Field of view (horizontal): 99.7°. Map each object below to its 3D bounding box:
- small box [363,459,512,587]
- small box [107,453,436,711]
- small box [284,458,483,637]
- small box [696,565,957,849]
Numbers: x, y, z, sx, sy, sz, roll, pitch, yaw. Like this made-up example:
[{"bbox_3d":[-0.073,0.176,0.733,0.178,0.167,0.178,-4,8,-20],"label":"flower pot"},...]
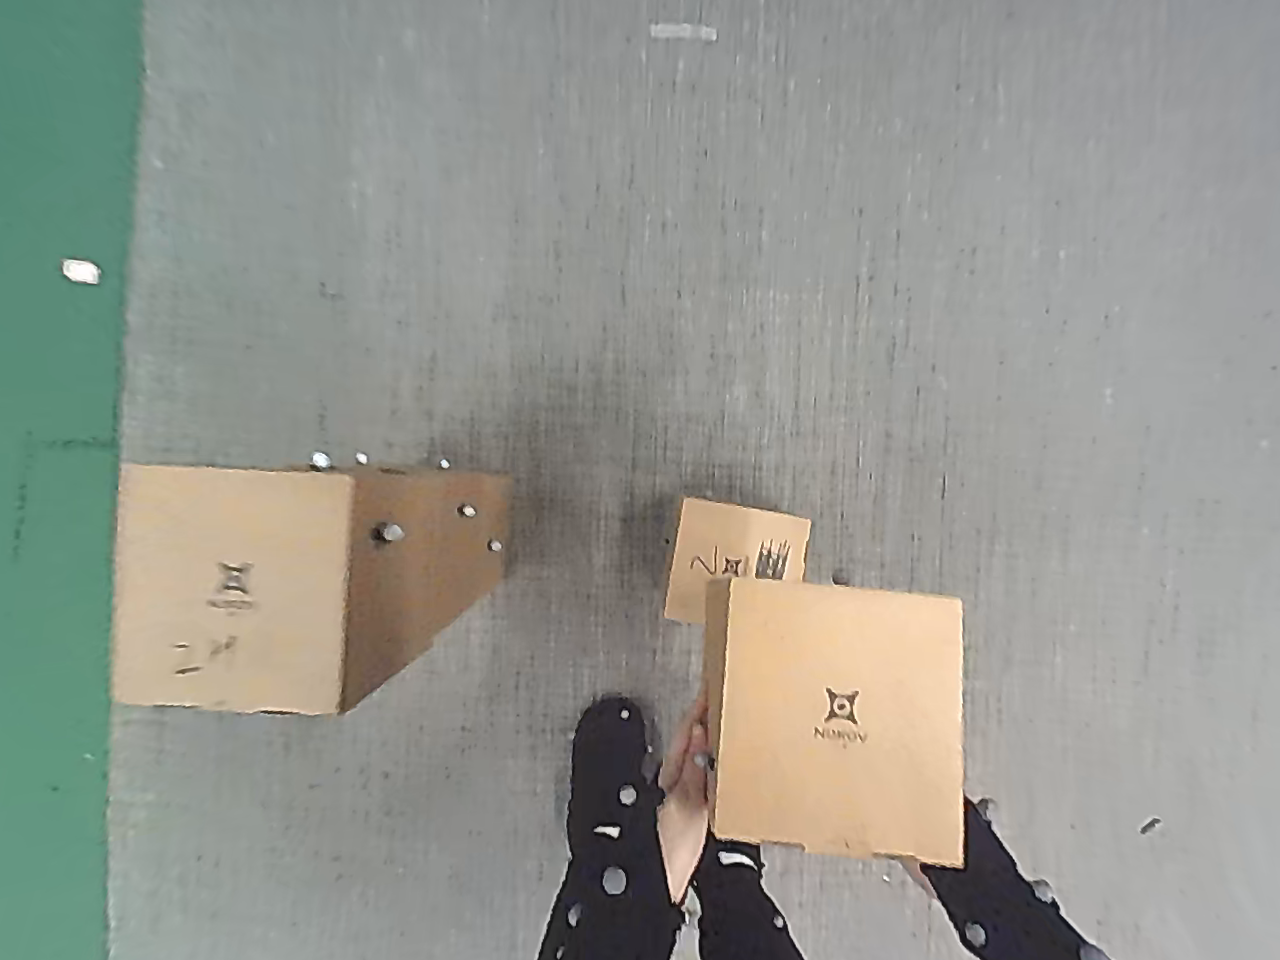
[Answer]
[{"bbox_3d":[-0.291,0.064,0.788,0.168,0.176,0.179,6,91,0],"label":"small box"},{"bbox_3d":[-0.287,0.072,0.461,0.168,0.176,0.179,3,90,2],"label":"small box"},{"bbox_3d":[-0.289,0.067,0.626,0.168,0.176,0.179,3,92,1],"label":"small box"},{"bbox_3d":[0.138,0.168,0.454,0.168,0.176,0.179,4,80,3],"label":"small box"}]
